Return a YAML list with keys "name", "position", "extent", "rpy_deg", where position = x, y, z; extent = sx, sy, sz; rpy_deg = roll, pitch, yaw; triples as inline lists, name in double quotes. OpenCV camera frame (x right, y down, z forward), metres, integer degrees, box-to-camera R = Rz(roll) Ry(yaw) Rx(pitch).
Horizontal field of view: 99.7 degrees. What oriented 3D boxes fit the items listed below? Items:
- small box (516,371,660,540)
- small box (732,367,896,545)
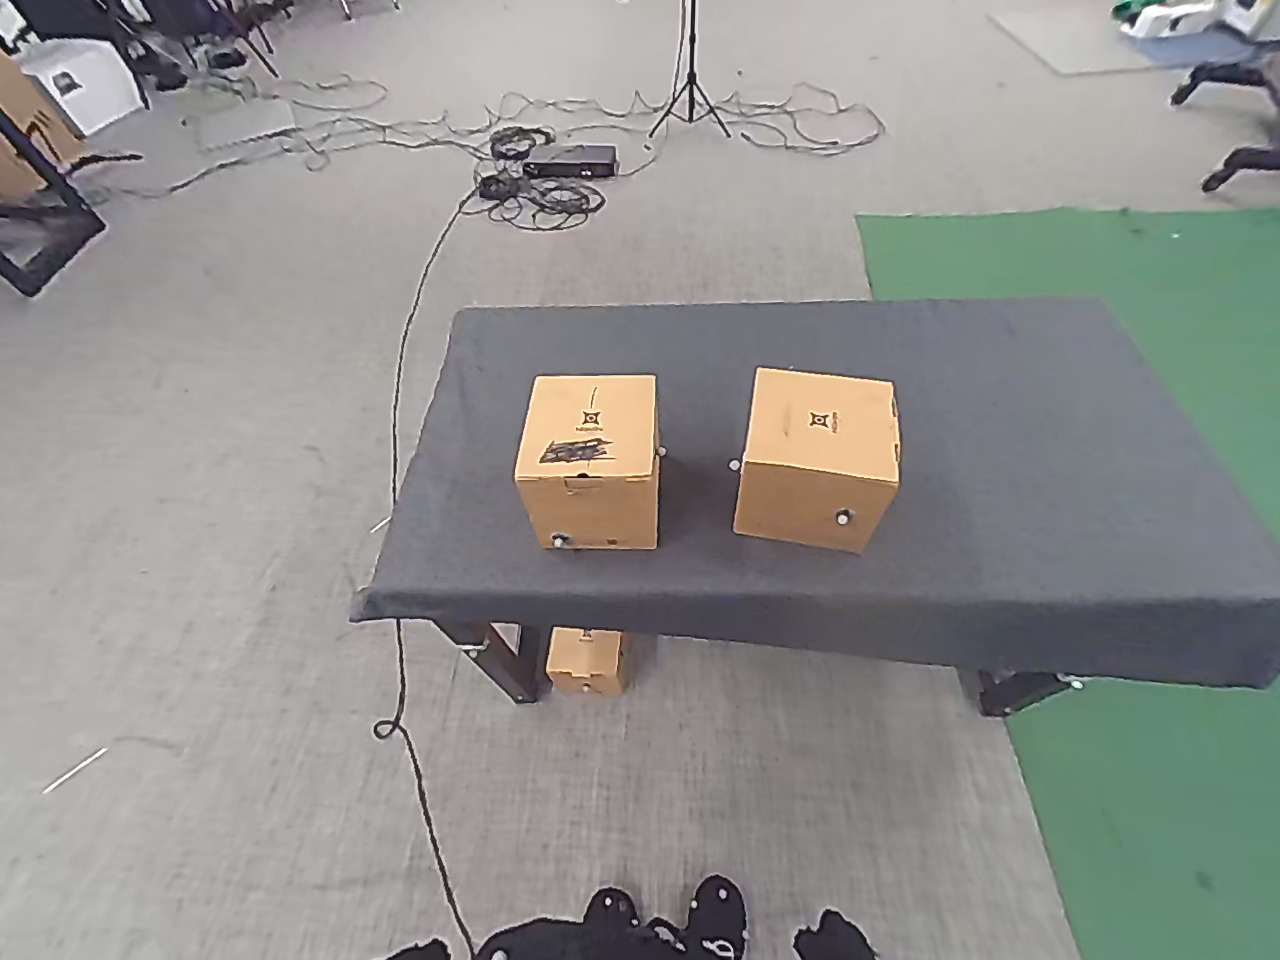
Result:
- name: "small box"
  position: [-0.058, -0.030, 0.749]
  extent: [0.168, 0.176, 0.179]
  rpy_deg: [1, 54, 4]
- name: "small box"
  position: [0.228, -0.027, 0.736]
  extent: [0.179, 0.176, 0.168]
  rpy_deg: [8, 55, 10]
